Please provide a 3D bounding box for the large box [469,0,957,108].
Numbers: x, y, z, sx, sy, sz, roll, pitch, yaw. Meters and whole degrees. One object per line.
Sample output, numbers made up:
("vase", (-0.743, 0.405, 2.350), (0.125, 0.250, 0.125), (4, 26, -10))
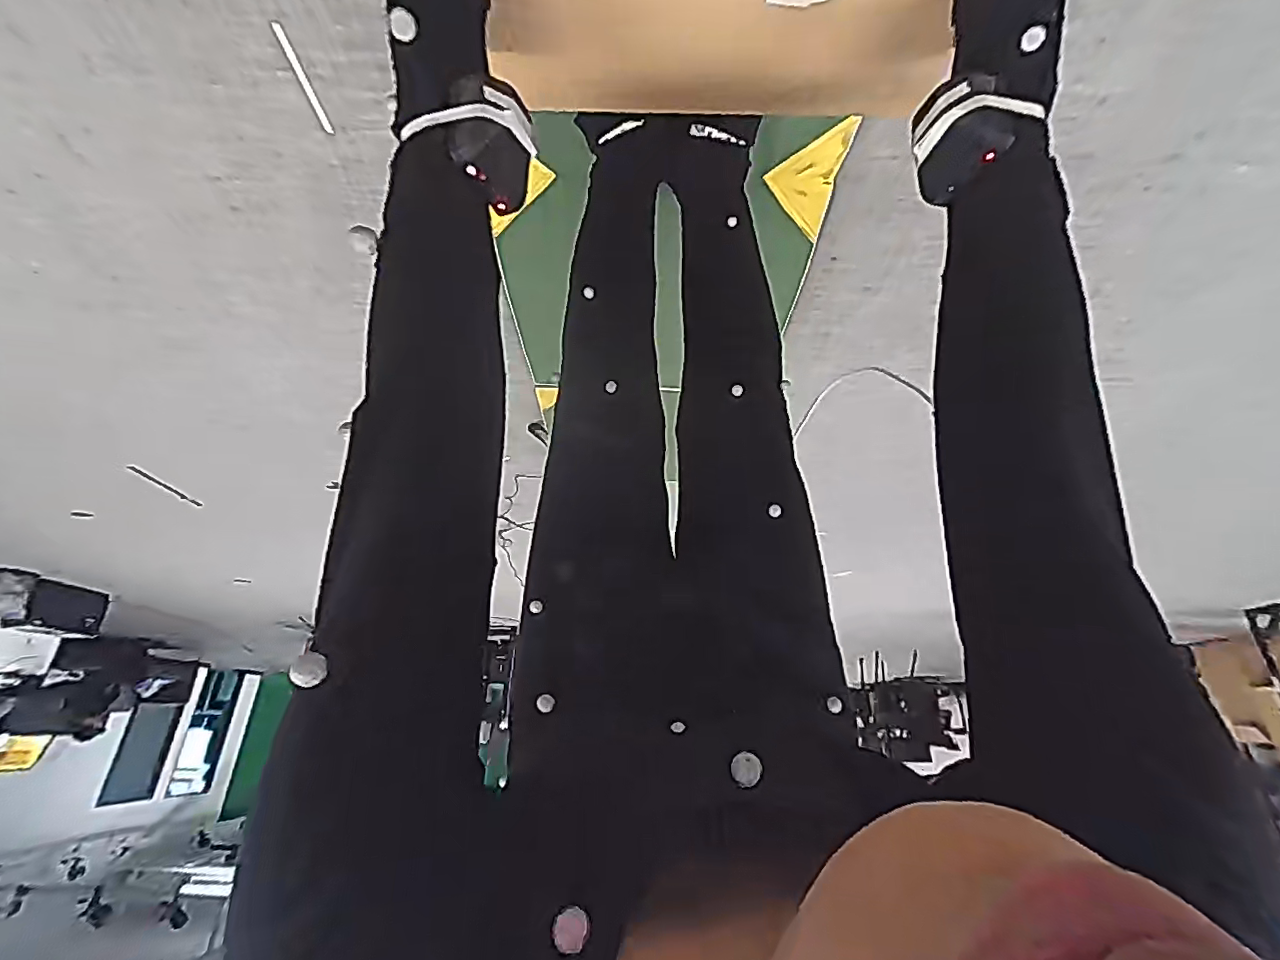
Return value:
("large box", (0.056, -0.553, 0.434), (0.408, 0.320, 0.320), (0, 156, 0))
